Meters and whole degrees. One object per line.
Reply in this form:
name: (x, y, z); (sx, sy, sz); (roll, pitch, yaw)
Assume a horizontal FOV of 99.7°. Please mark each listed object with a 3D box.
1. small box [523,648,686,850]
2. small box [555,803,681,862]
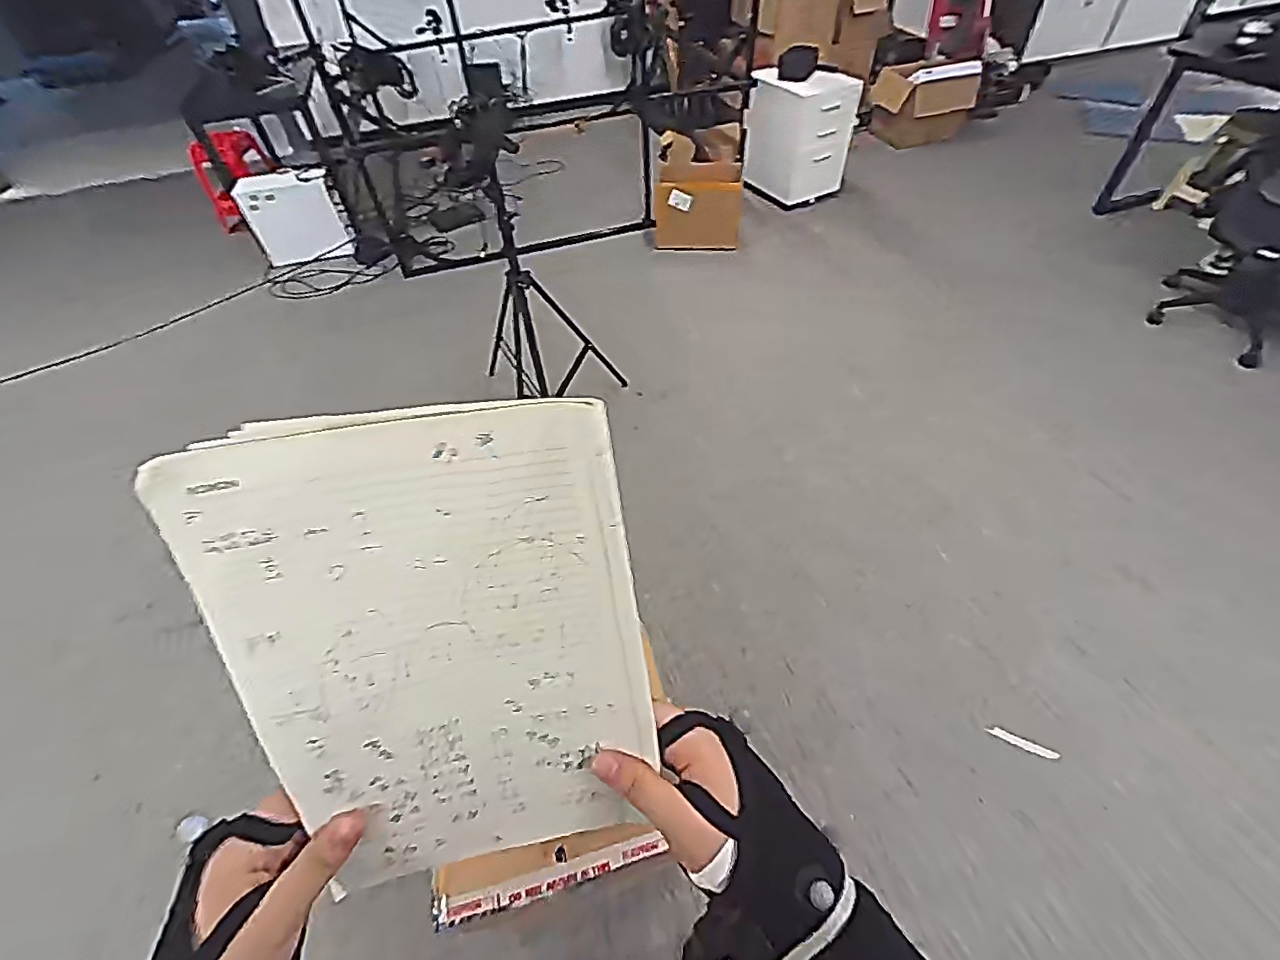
small box: (-0.049, 0.352, 0.706); (0.168, 0.176, 0.179); (-13, 52, -10)
small box: (-0.051, 0.458, 0.832); (0.179, 0.176, 0.168); (-16, 52, -12)
